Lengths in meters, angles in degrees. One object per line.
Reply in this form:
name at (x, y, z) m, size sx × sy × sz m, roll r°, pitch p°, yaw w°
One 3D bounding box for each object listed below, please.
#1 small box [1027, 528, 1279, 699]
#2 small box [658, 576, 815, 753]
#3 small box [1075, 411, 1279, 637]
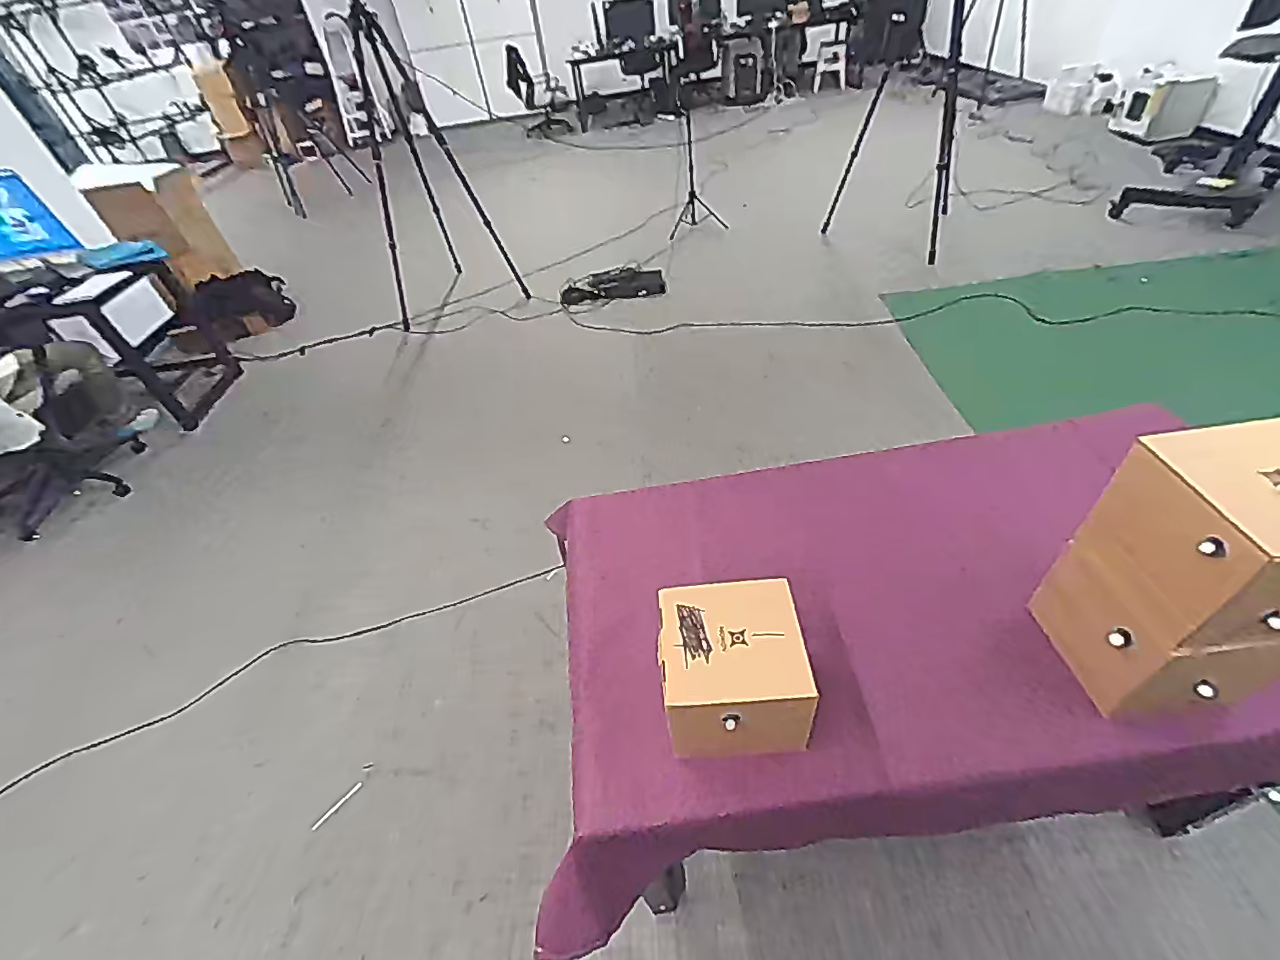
small box at (0.663, 0.171, 0.711) m, size 0.168 × 0.176 × 0.179 m, roll -8°, pitch 44°, yaw 1°
small box at (0.122, 0.251, 0.728) m, size 0.179 × 0.176 × 0.168 m, roll -6°, pitch 44°, yaw 3°
small box at (0.647, 0.049, 0.603) m, size 0.168 × 0.176 × 0.179 m, roll -8°, pitch 45°, yaw 2°
